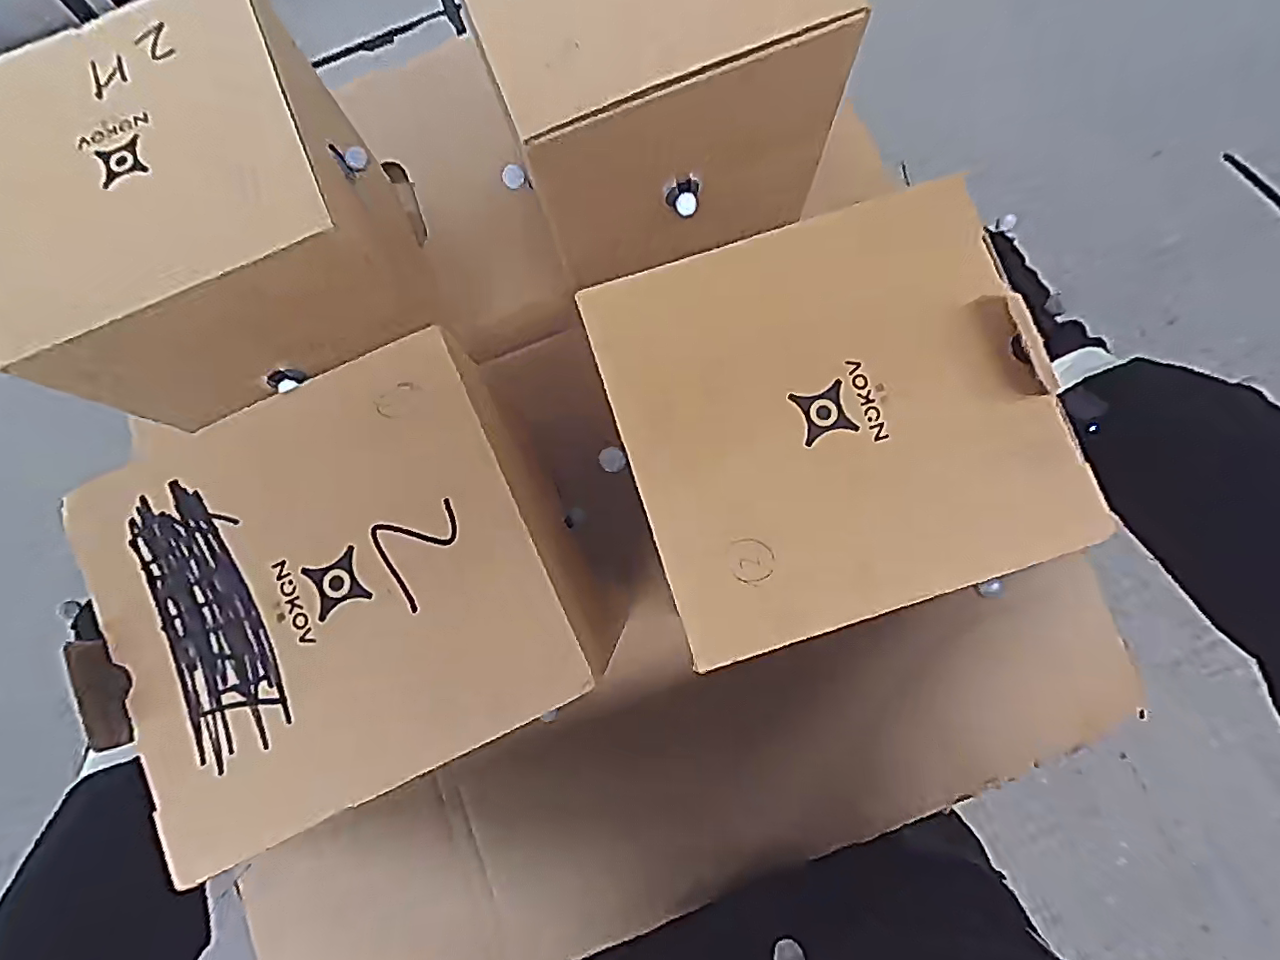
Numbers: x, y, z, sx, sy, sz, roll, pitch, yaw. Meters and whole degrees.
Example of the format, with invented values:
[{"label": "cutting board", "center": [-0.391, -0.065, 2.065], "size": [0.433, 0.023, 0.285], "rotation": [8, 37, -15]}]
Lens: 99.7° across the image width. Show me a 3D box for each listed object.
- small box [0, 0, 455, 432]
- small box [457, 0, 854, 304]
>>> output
[{"label": "small box", "center": [-0.244, -0.144, 0.344], "size": [0.168, 0.176, 0.179], "rotation": [-23, 78, -1]}, {"label": "small box", "center": [-0.001, -0.245, 0.345], "size": [0.179, 0.176, 0.168], "rotation": [-20, 79, 1]}]
